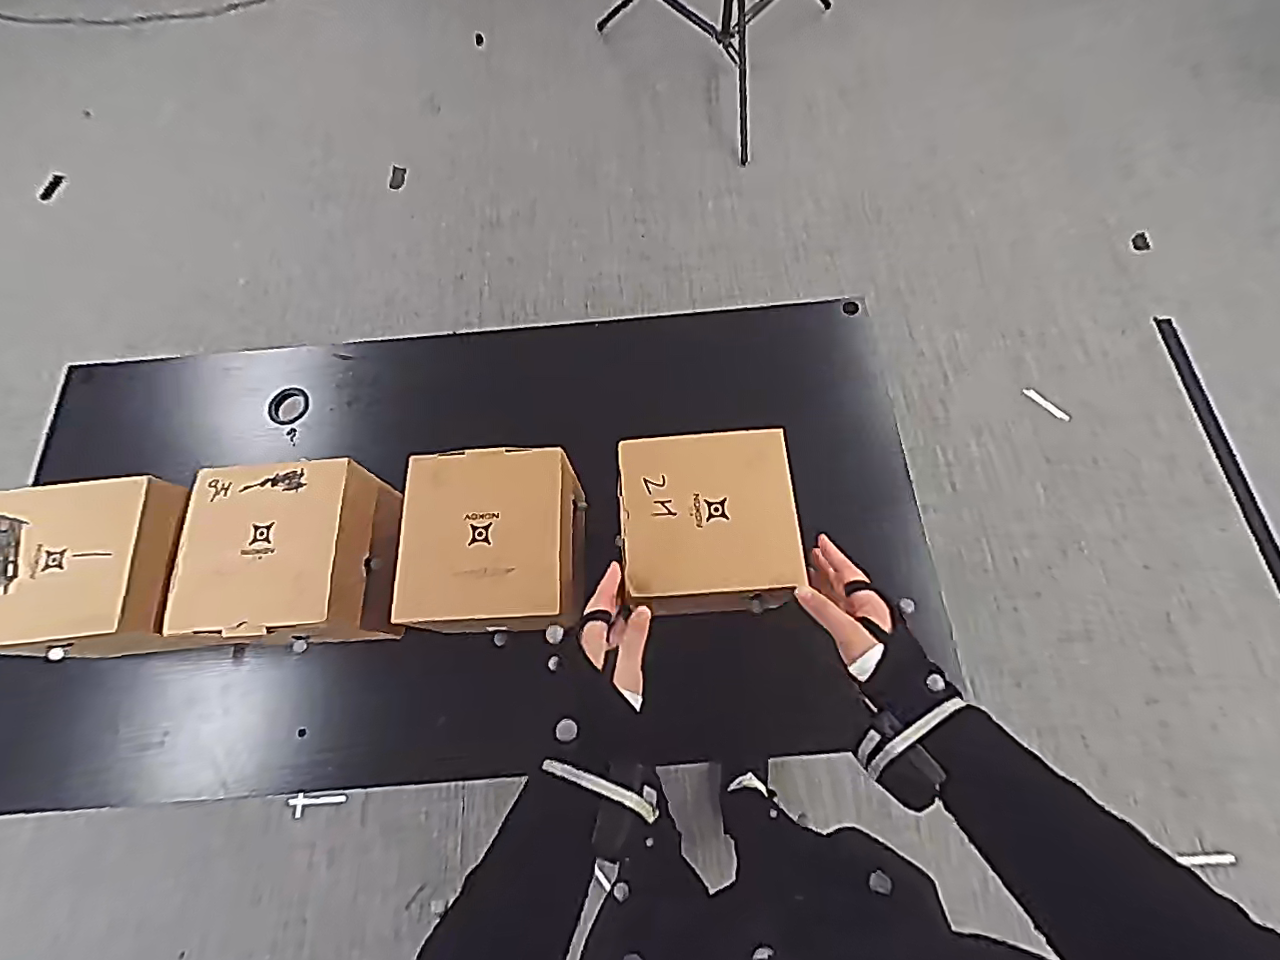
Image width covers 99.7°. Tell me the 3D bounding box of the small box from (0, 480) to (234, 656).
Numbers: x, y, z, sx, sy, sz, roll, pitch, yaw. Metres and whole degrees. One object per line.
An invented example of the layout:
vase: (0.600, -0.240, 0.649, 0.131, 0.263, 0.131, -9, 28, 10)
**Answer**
small box: (-0.593, 0.111, 0.636, 0.179, 0.176, 0.168, -6, 70, -1)

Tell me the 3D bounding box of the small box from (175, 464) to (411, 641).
small box: (-0.379, 0.095, 0.633, 0.168, 0.176, 0.179, -4, 70, 2)

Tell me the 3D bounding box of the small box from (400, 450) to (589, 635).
small box: (-0.153, 0.081, 0.630, 0.168, 0.176, 0.179, -4, 71, 3)
